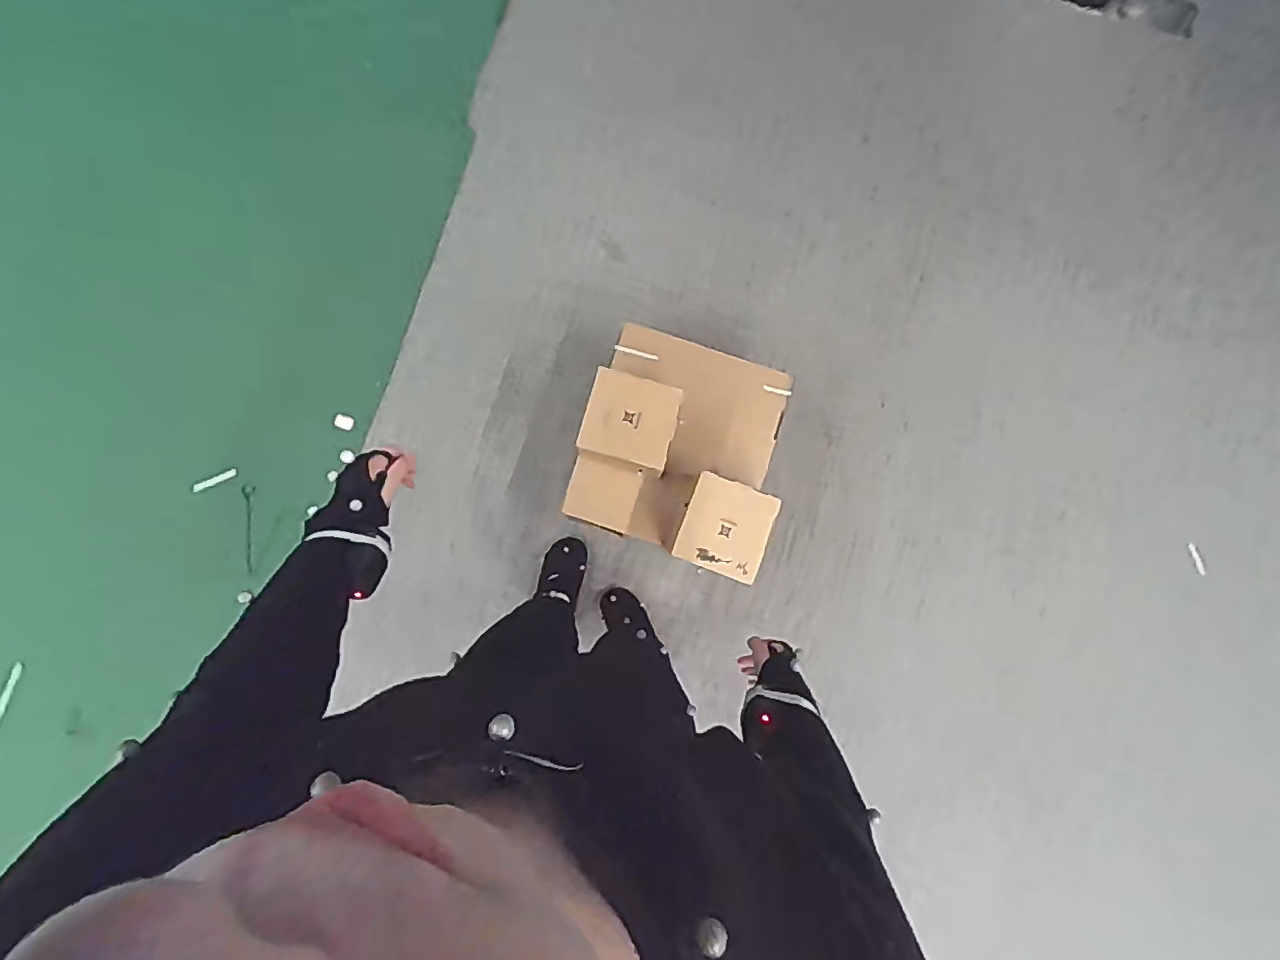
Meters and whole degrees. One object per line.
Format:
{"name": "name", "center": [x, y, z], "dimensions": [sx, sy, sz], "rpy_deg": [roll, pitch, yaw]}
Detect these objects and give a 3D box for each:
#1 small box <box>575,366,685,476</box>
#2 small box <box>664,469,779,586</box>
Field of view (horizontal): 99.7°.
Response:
{"name": "small box", "center": [-0.020, -0.112, 1.110], "dimensions": [0.179, 0.176, 0.168], "rpy_deg": [17, 84, 1]}
{"name": "small box", "center": [0.155, 0.095, 1.096], "dimensions": [0.168, 0.176, 0.179], "rpy_deg": [22, 84, 0]}
